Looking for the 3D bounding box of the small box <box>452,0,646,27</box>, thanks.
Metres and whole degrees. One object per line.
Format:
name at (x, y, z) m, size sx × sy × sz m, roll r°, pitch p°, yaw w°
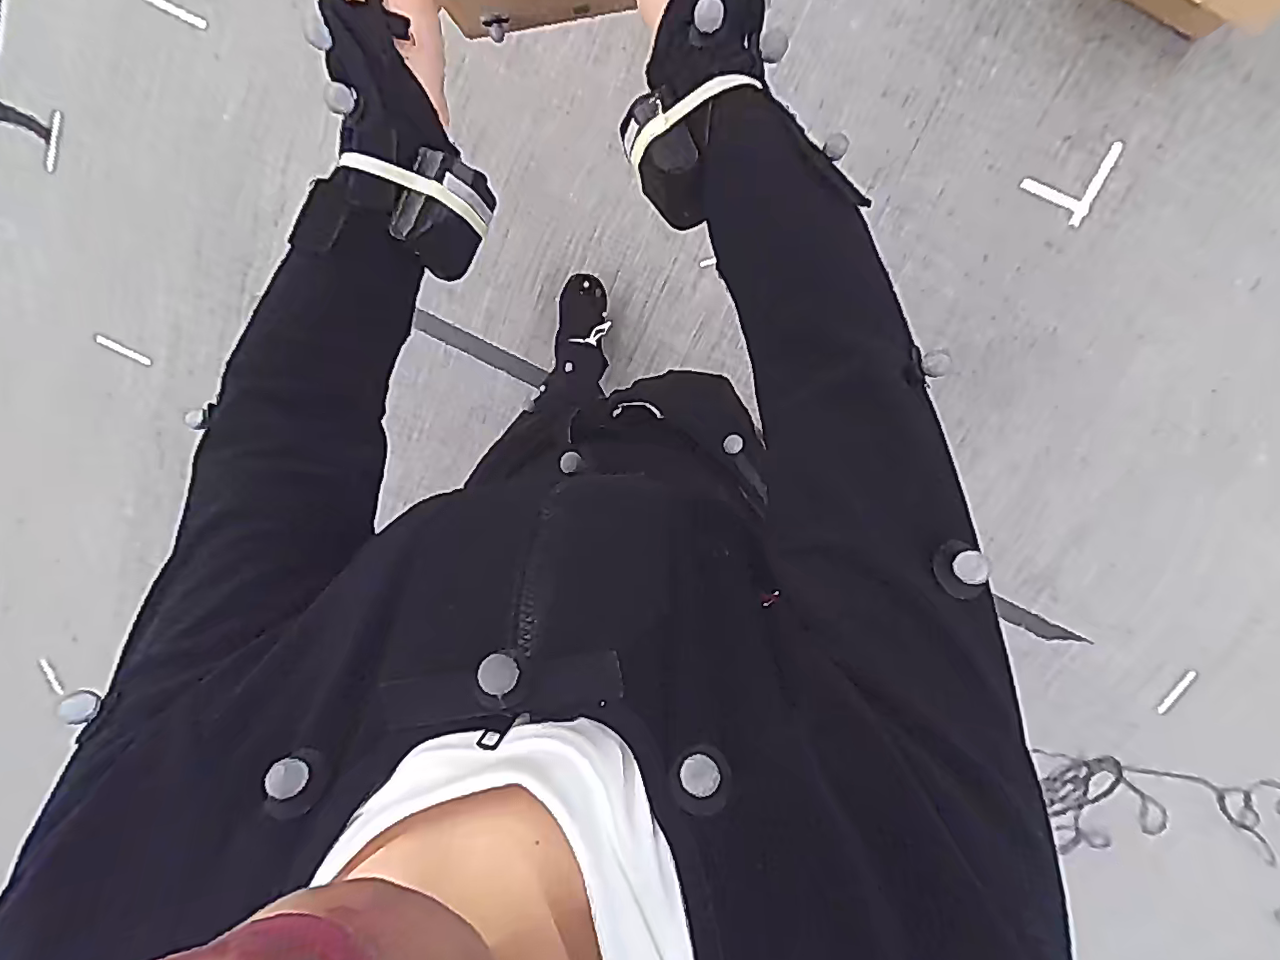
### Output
small box at (-0.079, -0.446, 0.364) m, size 0.168 × 0.176 × 0.179 m, roll -8°, pitch 110°, yaw 3°
